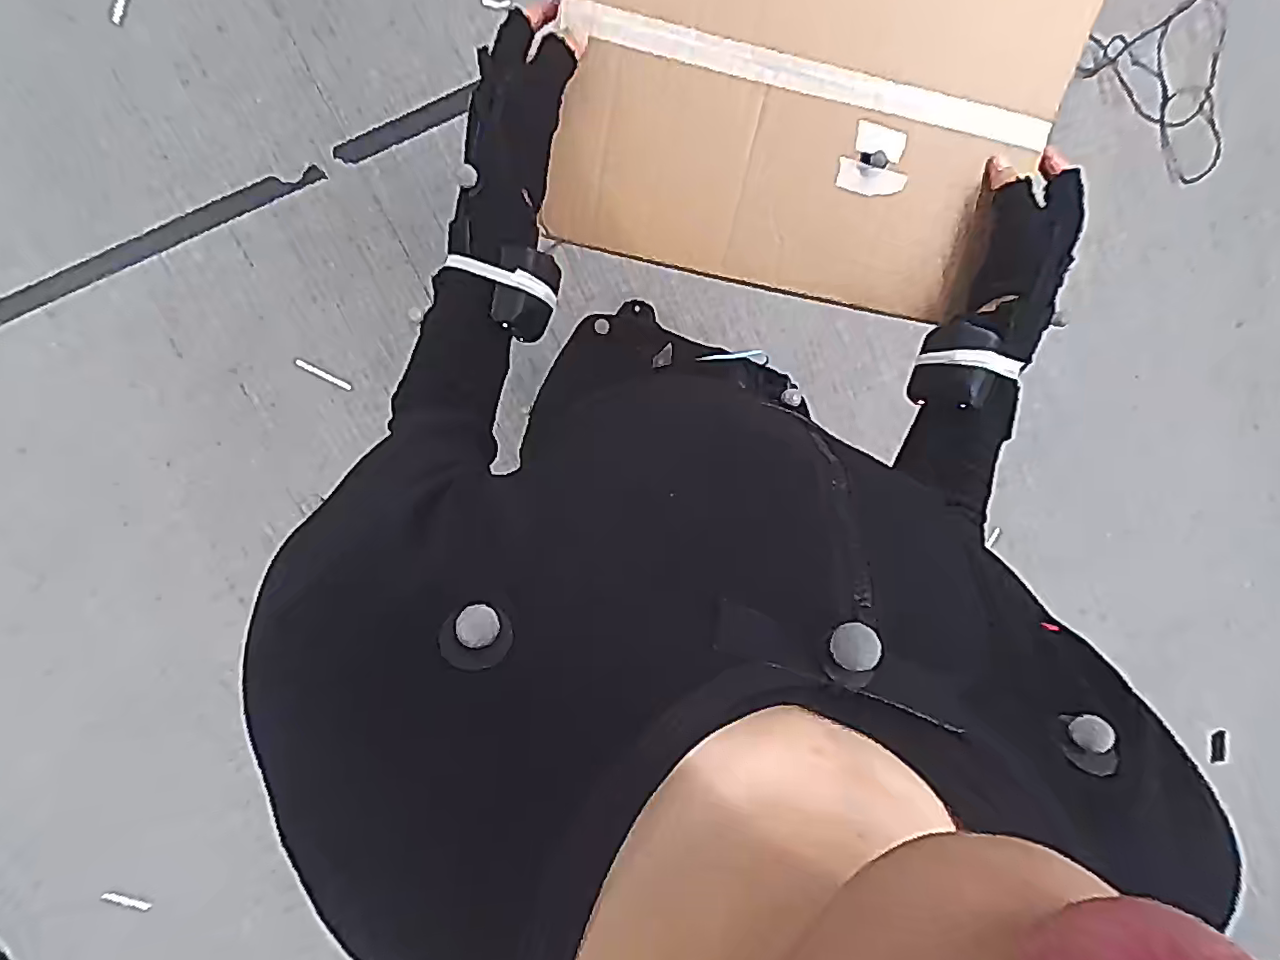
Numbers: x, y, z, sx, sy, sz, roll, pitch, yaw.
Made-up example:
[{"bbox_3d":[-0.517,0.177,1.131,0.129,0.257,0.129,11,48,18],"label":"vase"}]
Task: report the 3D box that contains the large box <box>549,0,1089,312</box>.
[{"bbox_3d":[0.135,-0.390,0.577,0.408,0.320,0.320,11,113,-7],"label":"large box"}]
